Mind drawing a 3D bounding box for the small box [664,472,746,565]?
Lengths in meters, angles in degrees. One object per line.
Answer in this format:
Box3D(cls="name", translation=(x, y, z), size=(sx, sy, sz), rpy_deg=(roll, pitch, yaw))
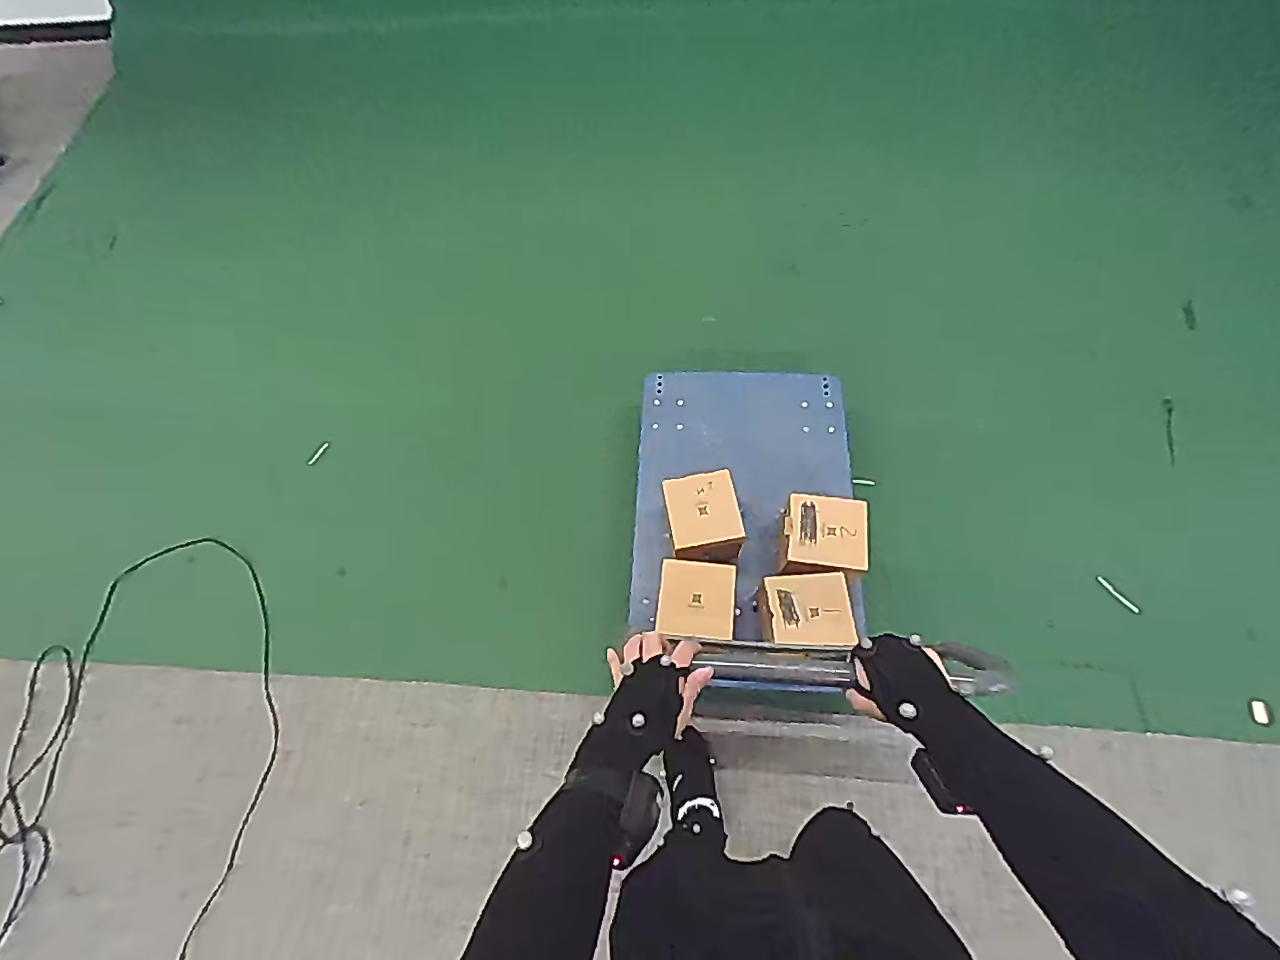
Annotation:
Box3D(cls="small box", translation=(0.156, 0.103, 1.331), size=(0.168, 0.176, 0.179), rpy_deg=(-9, 66, -1))
